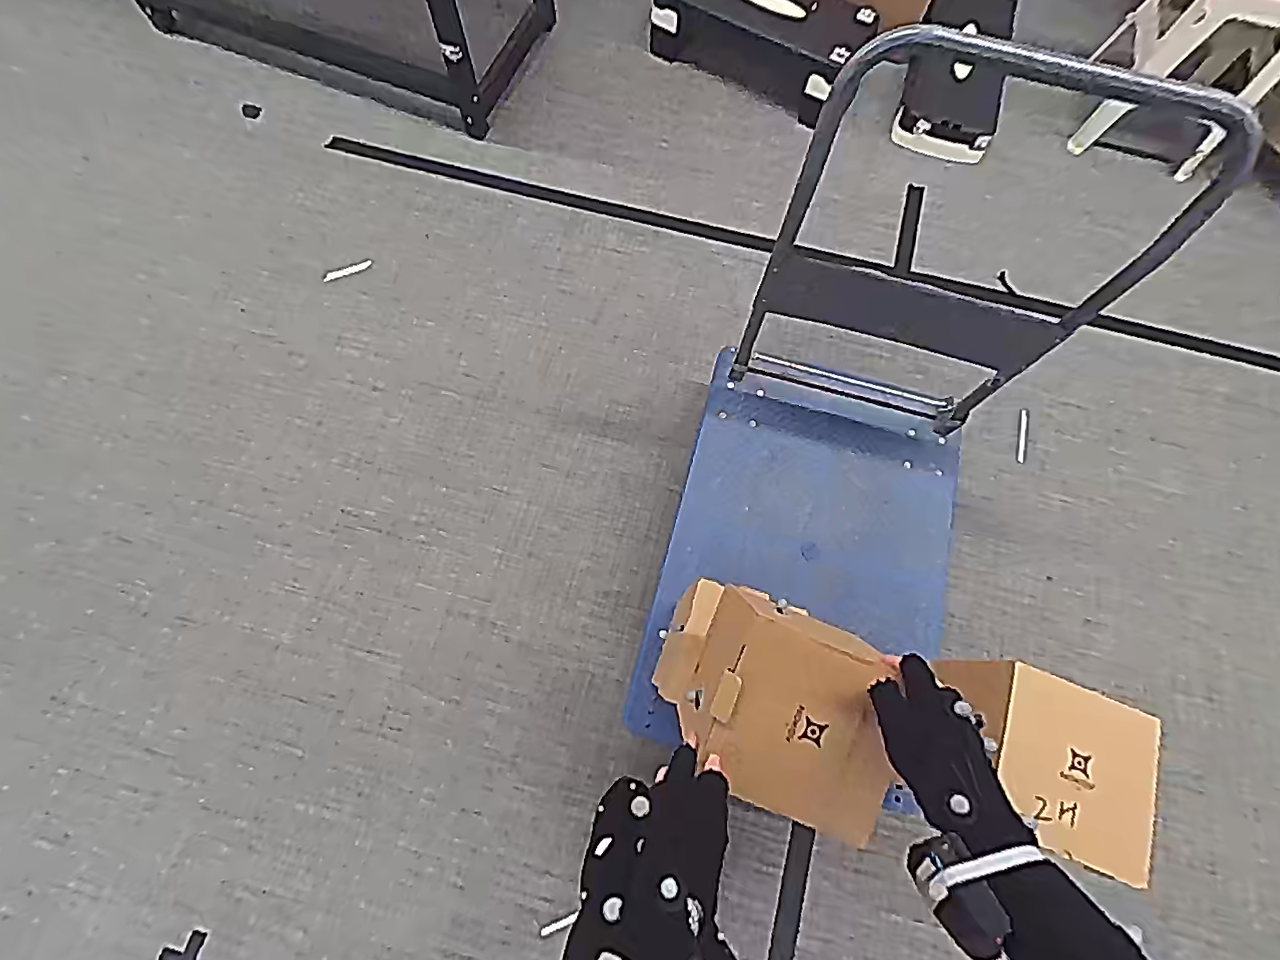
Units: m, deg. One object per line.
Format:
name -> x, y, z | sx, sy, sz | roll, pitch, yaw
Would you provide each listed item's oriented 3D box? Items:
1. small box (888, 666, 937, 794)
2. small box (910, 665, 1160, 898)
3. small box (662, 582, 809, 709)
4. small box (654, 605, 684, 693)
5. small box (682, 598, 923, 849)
small box -> 0.447, 0.387, 0.801 | 0.179, 0.176, 0.168 | 21, 73, 3
small box -> 0.454, 0.335, 0.645 | 0.168, 0.176, 0.179 | 22, 73, 5
small box -> 0.136, 0.273, 0.823 | 0.168, 0.176, 0.179 | 17, 72, 4
small box -> 0.134, 0.326, 0.979 | 0.179, 0.176, 0.168 | 19, 73, 5
small box -> 0.155, 0.239, 0.584 | 0.179, 0.176, 0.168 | 22, 88, 0
